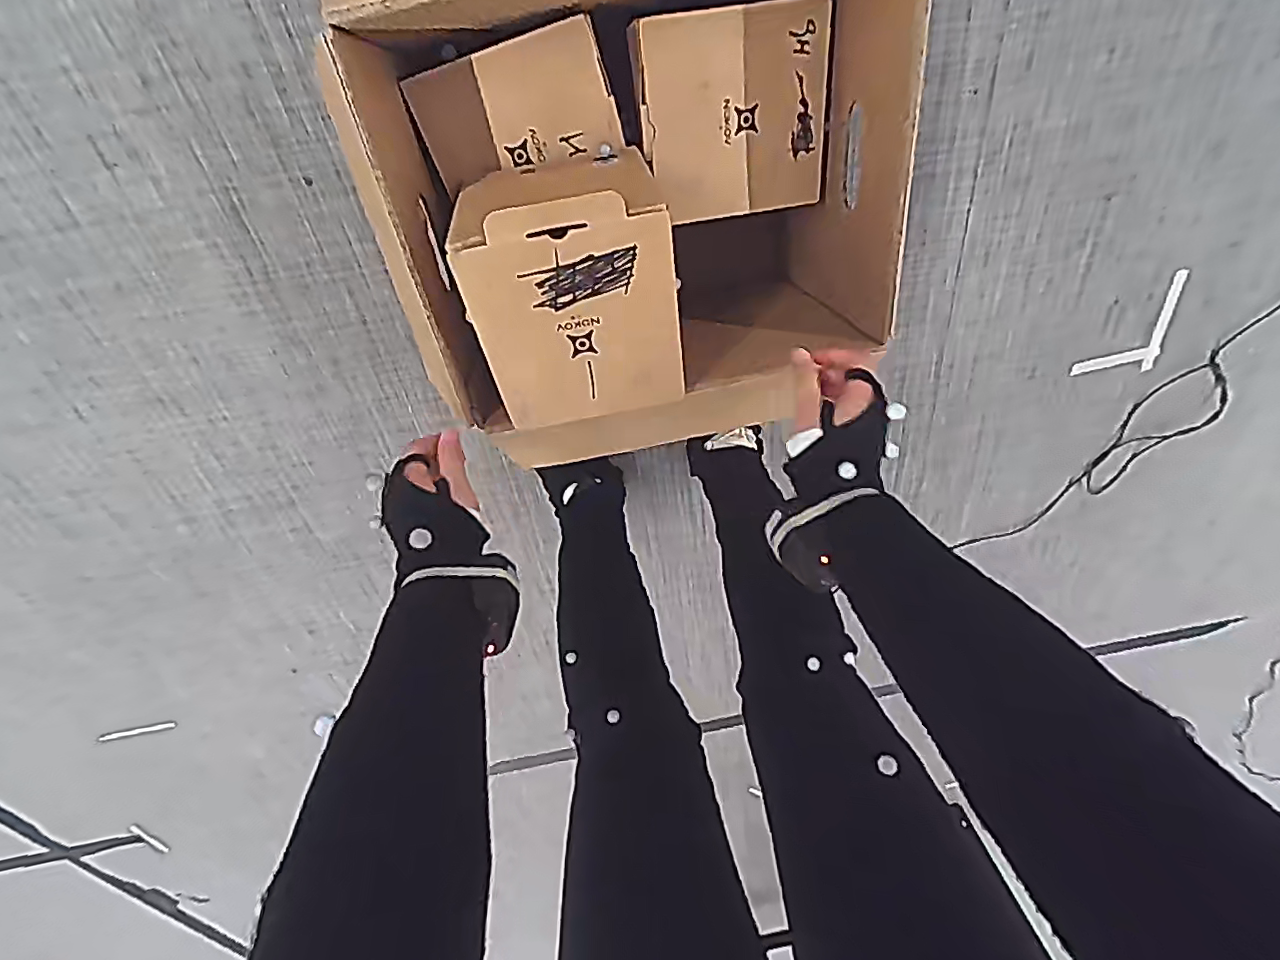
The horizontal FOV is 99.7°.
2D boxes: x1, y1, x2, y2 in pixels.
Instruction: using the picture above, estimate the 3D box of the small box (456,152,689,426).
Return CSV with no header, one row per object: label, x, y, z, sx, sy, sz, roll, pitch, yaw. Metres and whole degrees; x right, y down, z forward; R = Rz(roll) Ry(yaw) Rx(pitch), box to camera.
small box,-0.055,-0.180,0.496,0.168,0.176,0.179,-11,136,-1
